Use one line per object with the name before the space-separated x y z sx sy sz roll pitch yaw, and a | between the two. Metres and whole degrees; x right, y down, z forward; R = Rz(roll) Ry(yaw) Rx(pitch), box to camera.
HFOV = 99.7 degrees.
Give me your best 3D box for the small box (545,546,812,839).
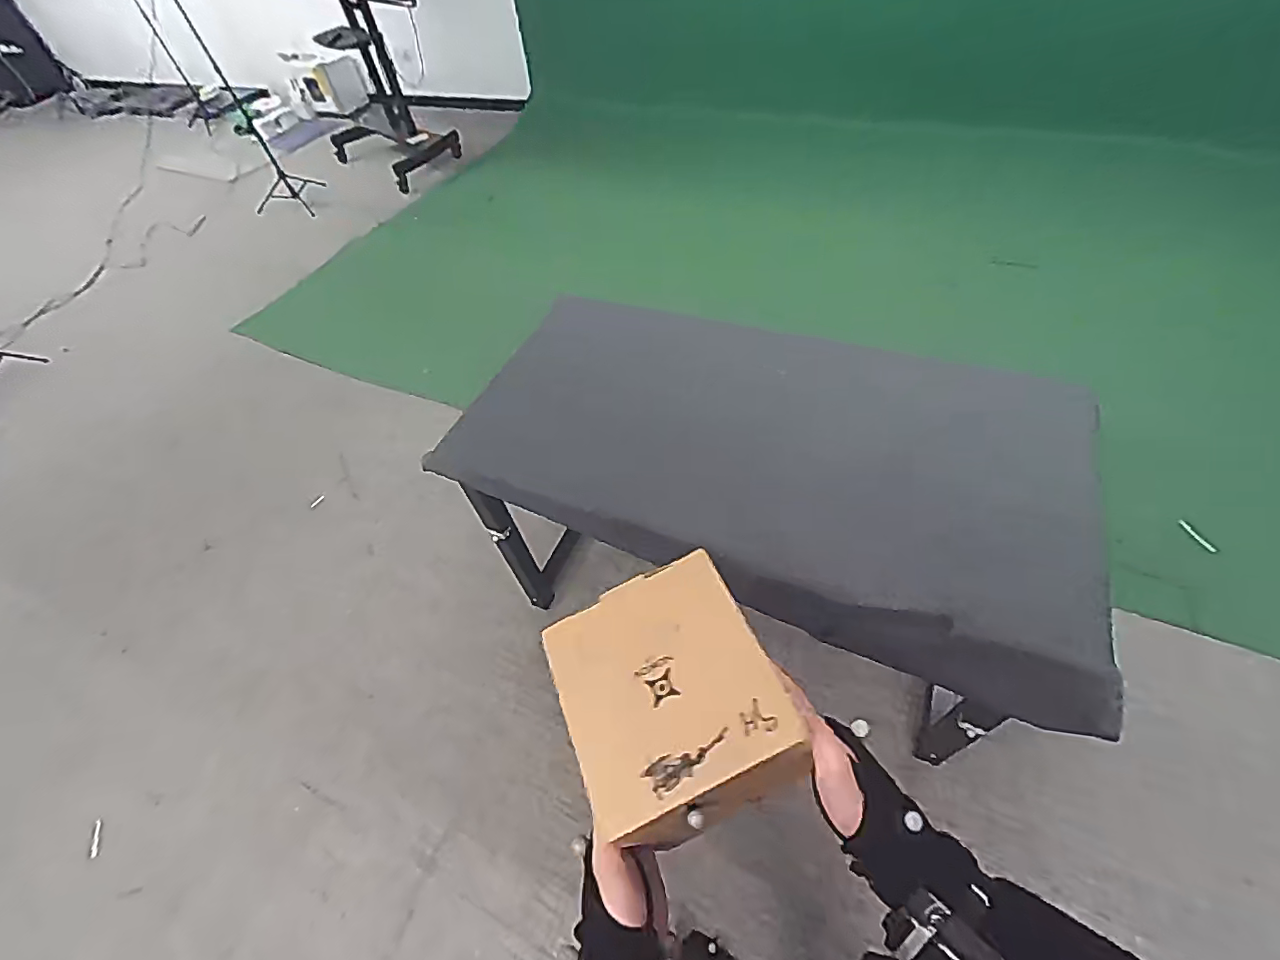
small box | 0.038 0.197 0.493 0.168 0.176 0.179 -28 52 -1
